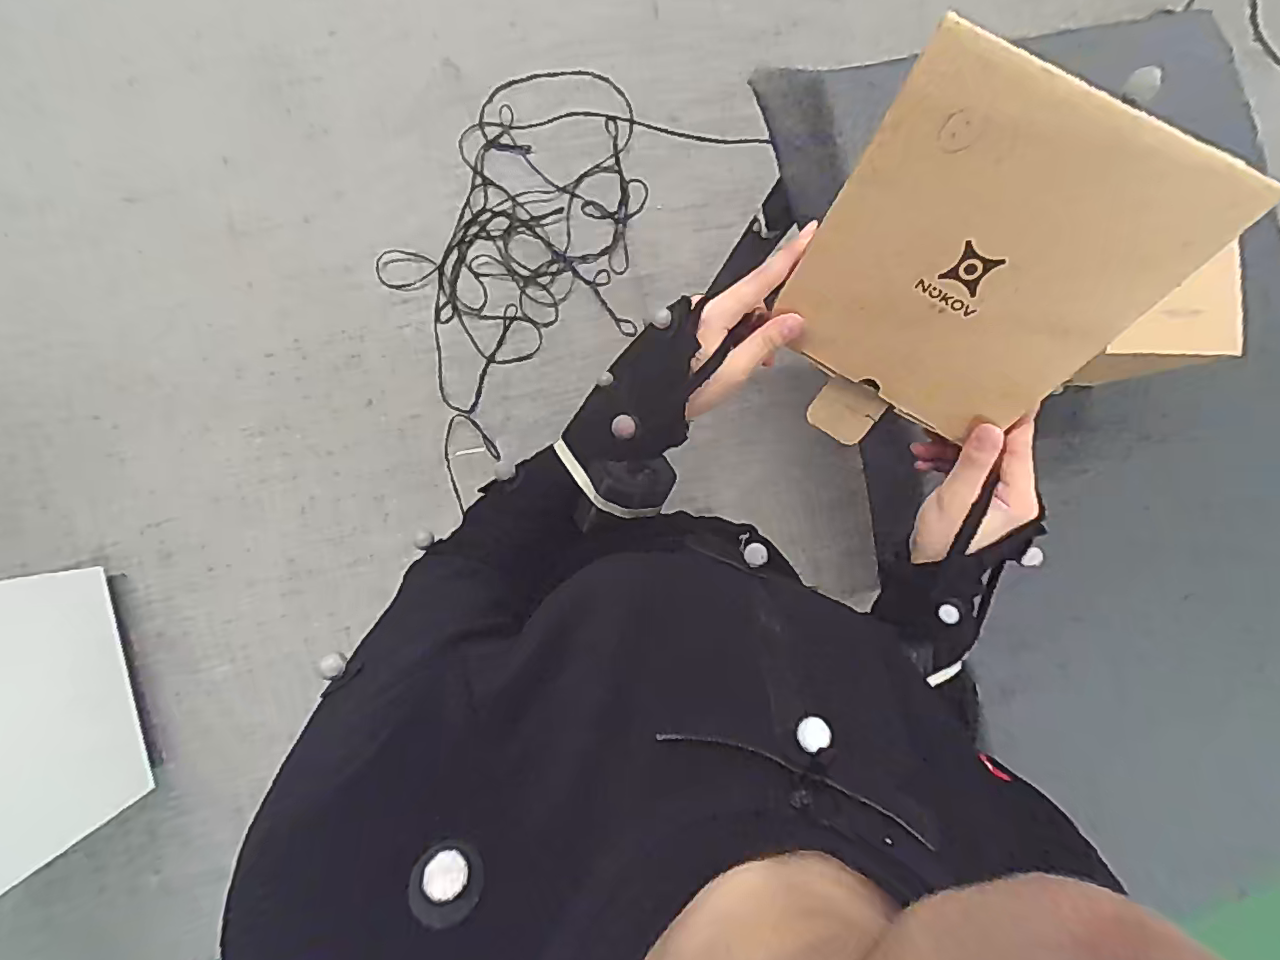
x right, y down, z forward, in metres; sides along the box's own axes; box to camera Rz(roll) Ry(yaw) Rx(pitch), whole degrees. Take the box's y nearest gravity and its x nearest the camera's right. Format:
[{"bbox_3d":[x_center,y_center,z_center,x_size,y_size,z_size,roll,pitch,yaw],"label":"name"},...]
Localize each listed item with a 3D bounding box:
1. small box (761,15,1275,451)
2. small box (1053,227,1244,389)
[{"bbox_3d":[0.206,-0.160,0.348,0.168,0.179,0.176,30,47,4],"label":"small box"},{"bbox_3d":[0.543,-0.211,0.641,0.168,0.176,0.179,-1,89,-6],"label":"small box"}]
